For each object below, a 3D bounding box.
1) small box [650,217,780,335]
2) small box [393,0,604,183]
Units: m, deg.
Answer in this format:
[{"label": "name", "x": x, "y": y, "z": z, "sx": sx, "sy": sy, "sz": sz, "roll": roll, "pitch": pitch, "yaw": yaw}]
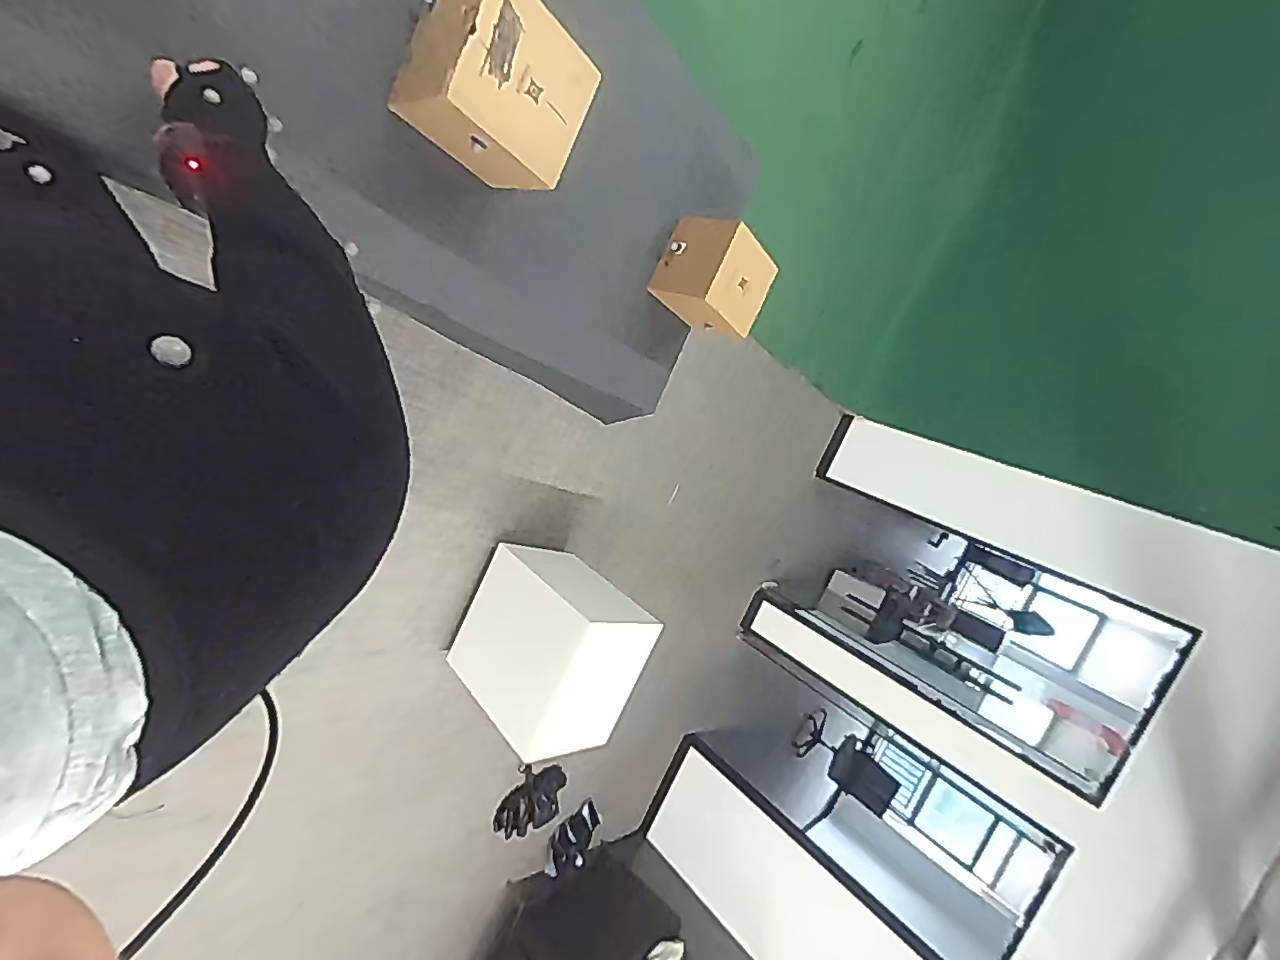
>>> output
[{"label": "small box", "x": 0.154, "y": -0.428, "z": 1.127, "sx": 0.179, "sy": 0.176, "sz": 0.168, "roll": 20, "pitch": 96, "yaw": -49}, {"label": "small box", "x": -0.187, "y": -0.517, "z": 0.703, "sx": 0.179, "sy": 0.176, "sz": 0.168, "roll": 18, "pitch": 99, "yaw": -52}]
